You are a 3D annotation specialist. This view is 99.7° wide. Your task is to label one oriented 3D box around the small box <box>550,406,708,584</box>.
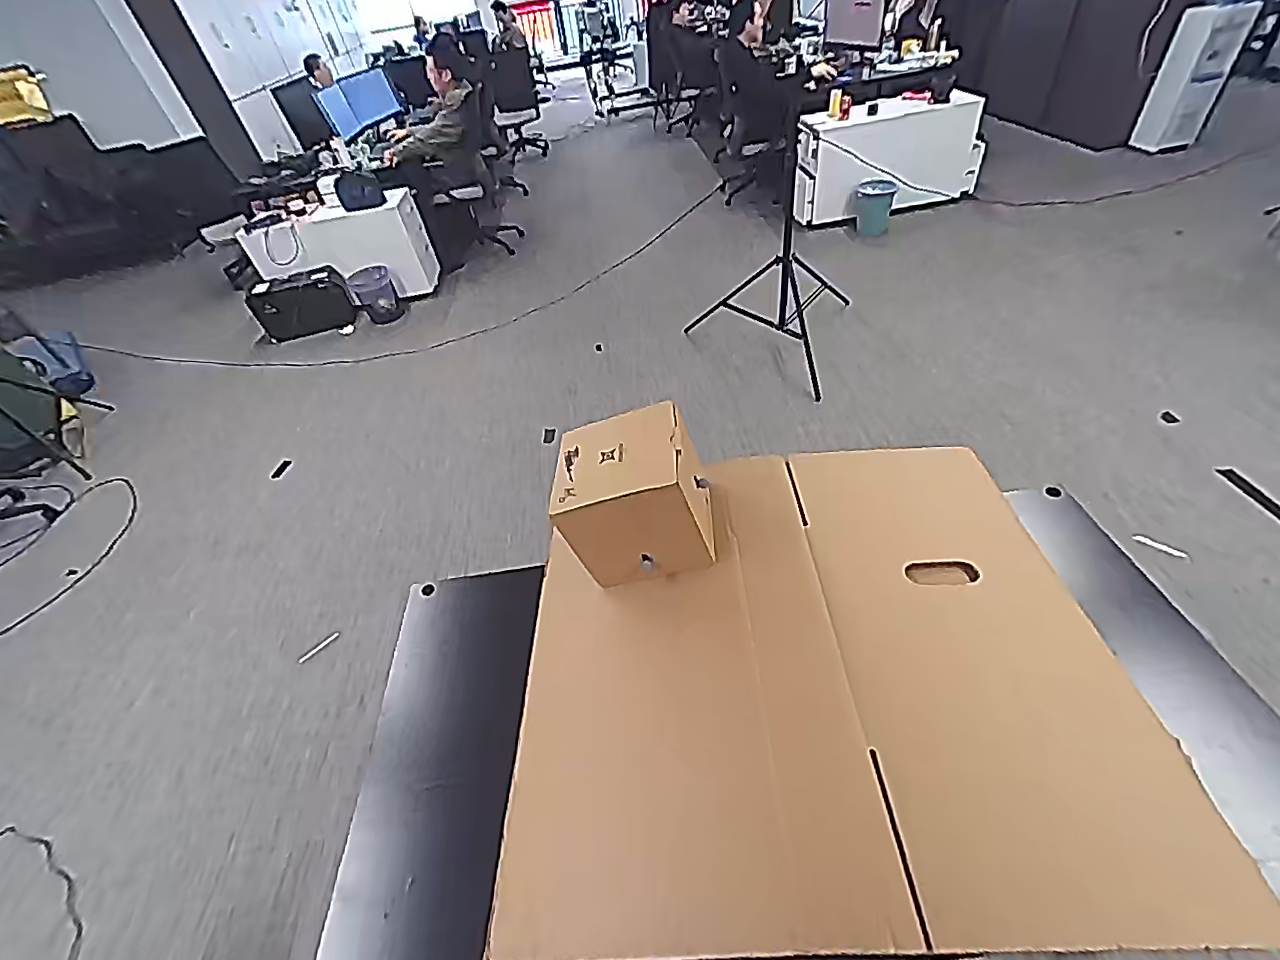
[{"bbox_3d":[-0.005,0.026,0.771,0.179,0.176,0.168,-14,42,14],"label":"small box"}]
